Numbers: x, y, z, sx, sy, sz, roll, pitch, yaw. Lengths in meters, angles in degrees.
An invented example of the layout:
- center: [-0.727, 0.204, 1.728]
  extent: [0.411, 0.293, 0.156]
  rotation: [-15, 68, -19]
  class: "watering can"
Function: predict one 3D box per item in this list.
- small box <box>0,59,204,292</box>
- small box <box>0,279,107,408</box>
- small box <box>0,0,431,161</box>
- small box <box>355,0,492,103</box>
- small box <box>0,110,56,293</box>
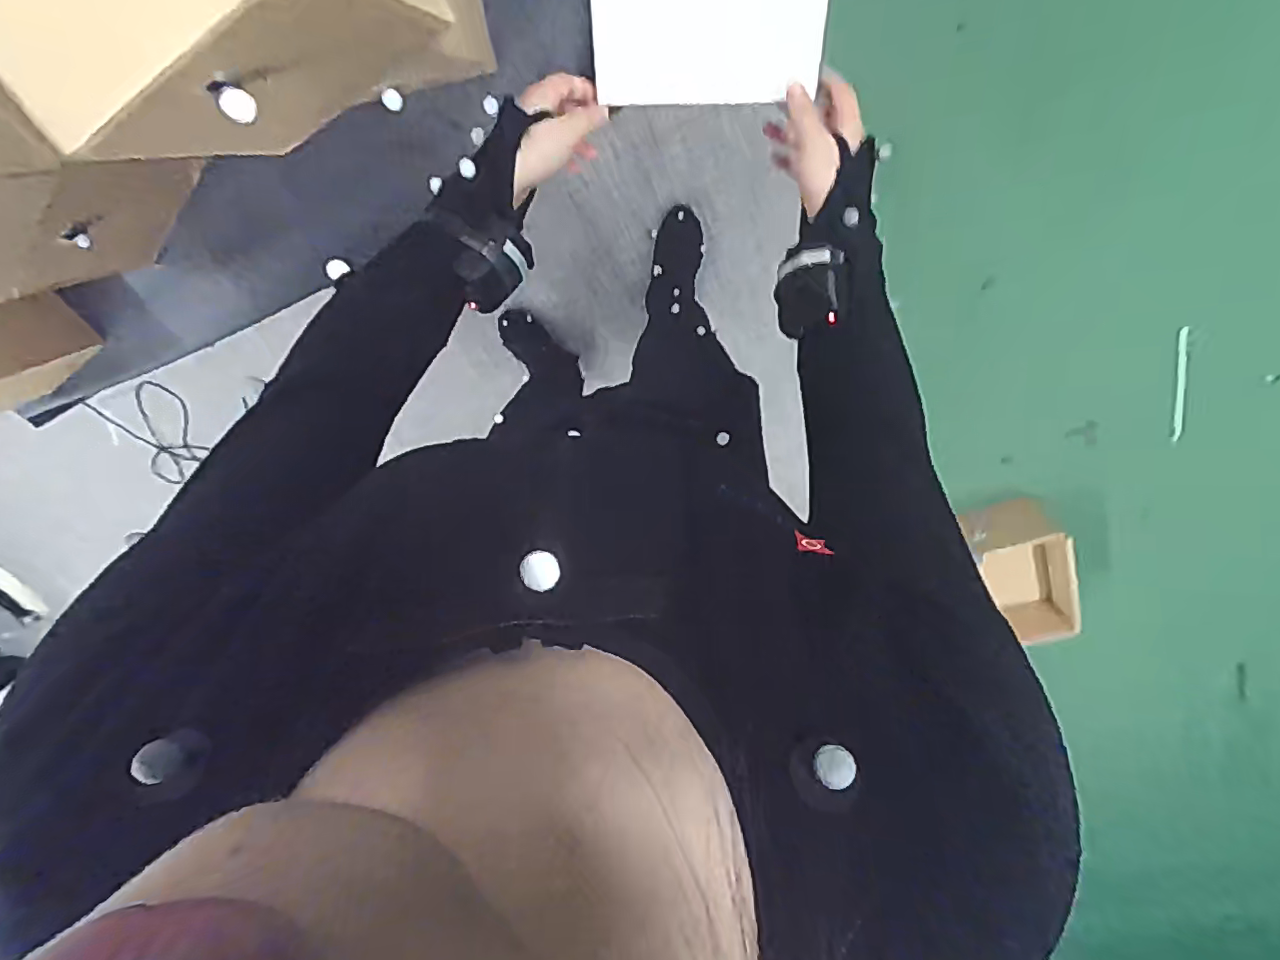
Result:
- center: [-0.581, -0.319, 0.521]
  extent: [0.179, 0.176, 0.168]
  rotation: [-34, 114, 26]
  class: "small box"
- center: [-0.822, -0.179, 0.642]
  extent: [0.168, 0.176, 0.179]
  rotation: [-23, 118, 20]
  class: "small box"
- center: [-0.242, -0.302, 0.290]
  extent: [0.179, 0.176, 0.168]
  rotation: [-19, 119, 19]
  class: "small box"
- center: [-0.236, -0.410, 0.414]
  extent: [0.168, 0.176, 0.179]
  rotation: [-4, 123, 11]
  class: "small box"
- center: [-0.597, -0.226, 0.386]
  extent: [0.179, 0.176, 0.168]
  rotation: [-32, 115, 24]
  class: "small box"
